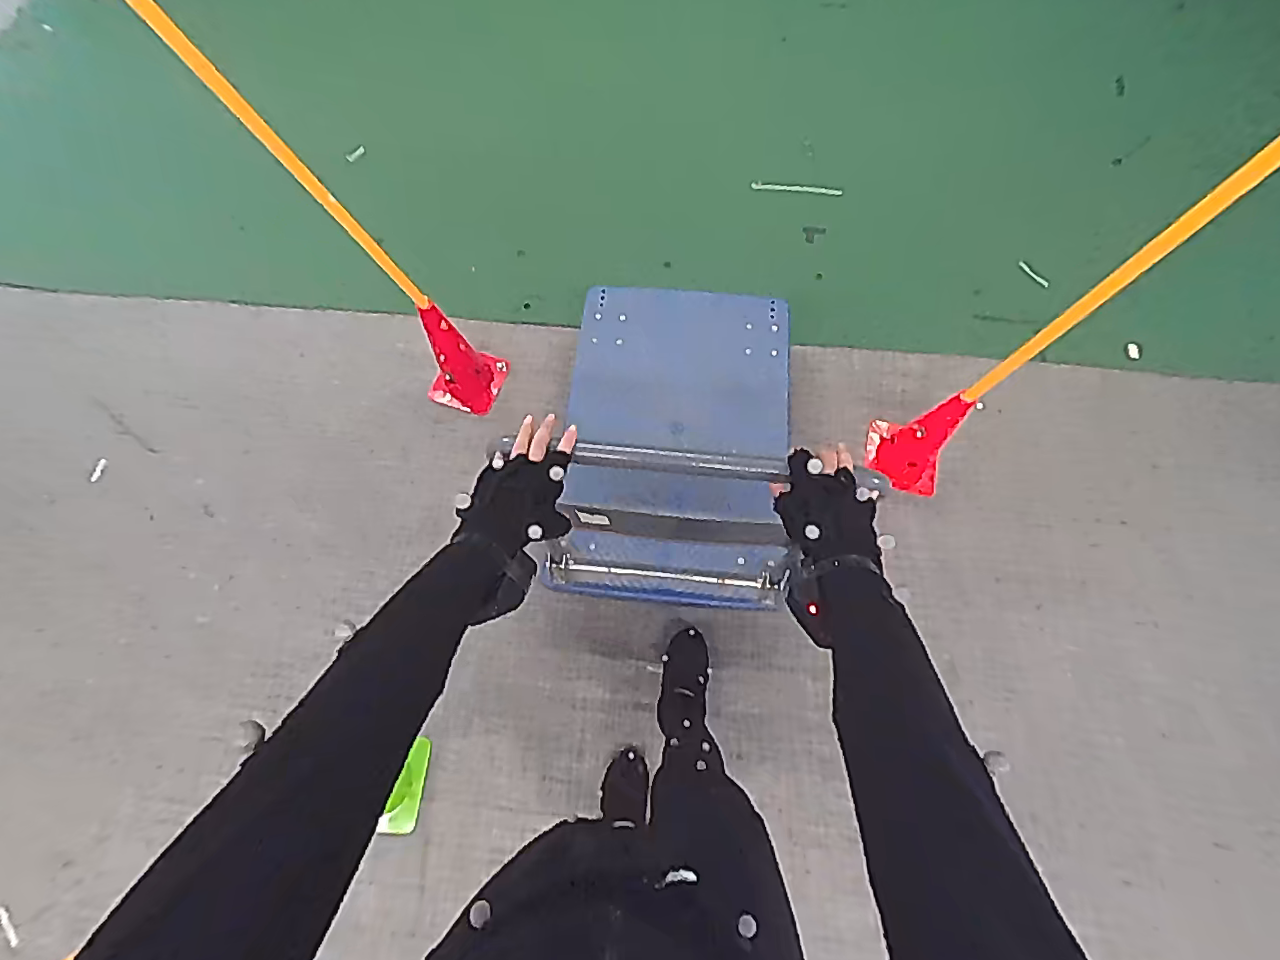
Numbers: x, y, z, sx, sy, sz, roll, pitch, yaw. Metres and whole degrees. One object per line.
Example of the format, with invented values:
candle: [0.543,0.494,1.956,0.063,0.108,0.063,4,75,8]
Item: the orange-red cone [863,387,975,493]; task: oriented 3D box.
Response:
orange-red cone: [0.735,-0.129,1.365,0.198,0.360,0.199,15,71,8]
